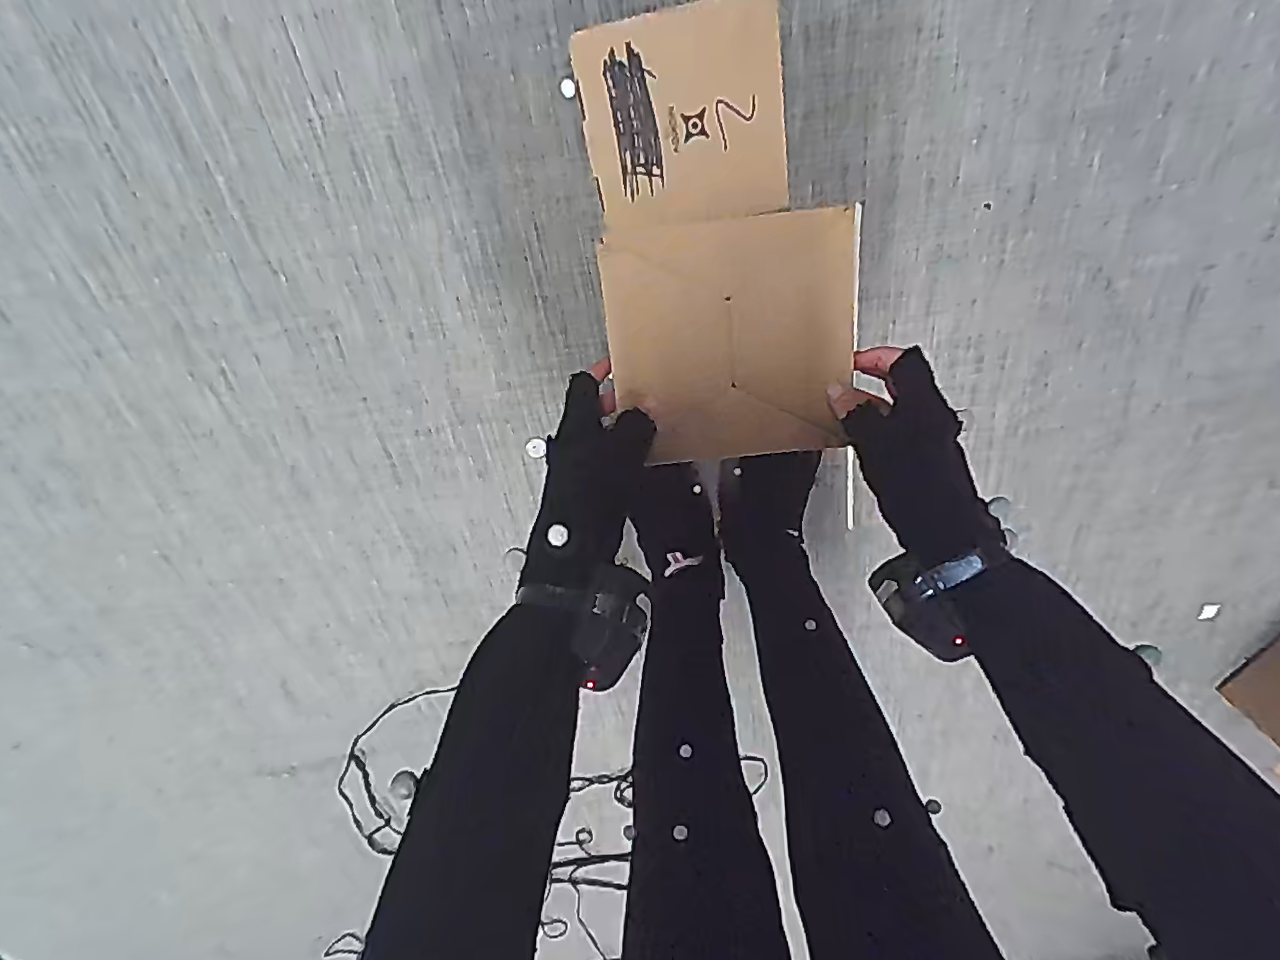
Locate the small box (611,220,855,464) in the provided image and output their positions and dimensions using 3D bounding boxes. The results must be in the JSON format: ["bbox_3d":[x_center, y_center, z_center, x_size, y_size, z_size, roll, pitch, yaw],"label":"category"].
[{"bbox_3d":[0.075,-0.117,0.466,0.179,0.176,0.168,-5,106,2],"label":"small box"}]
